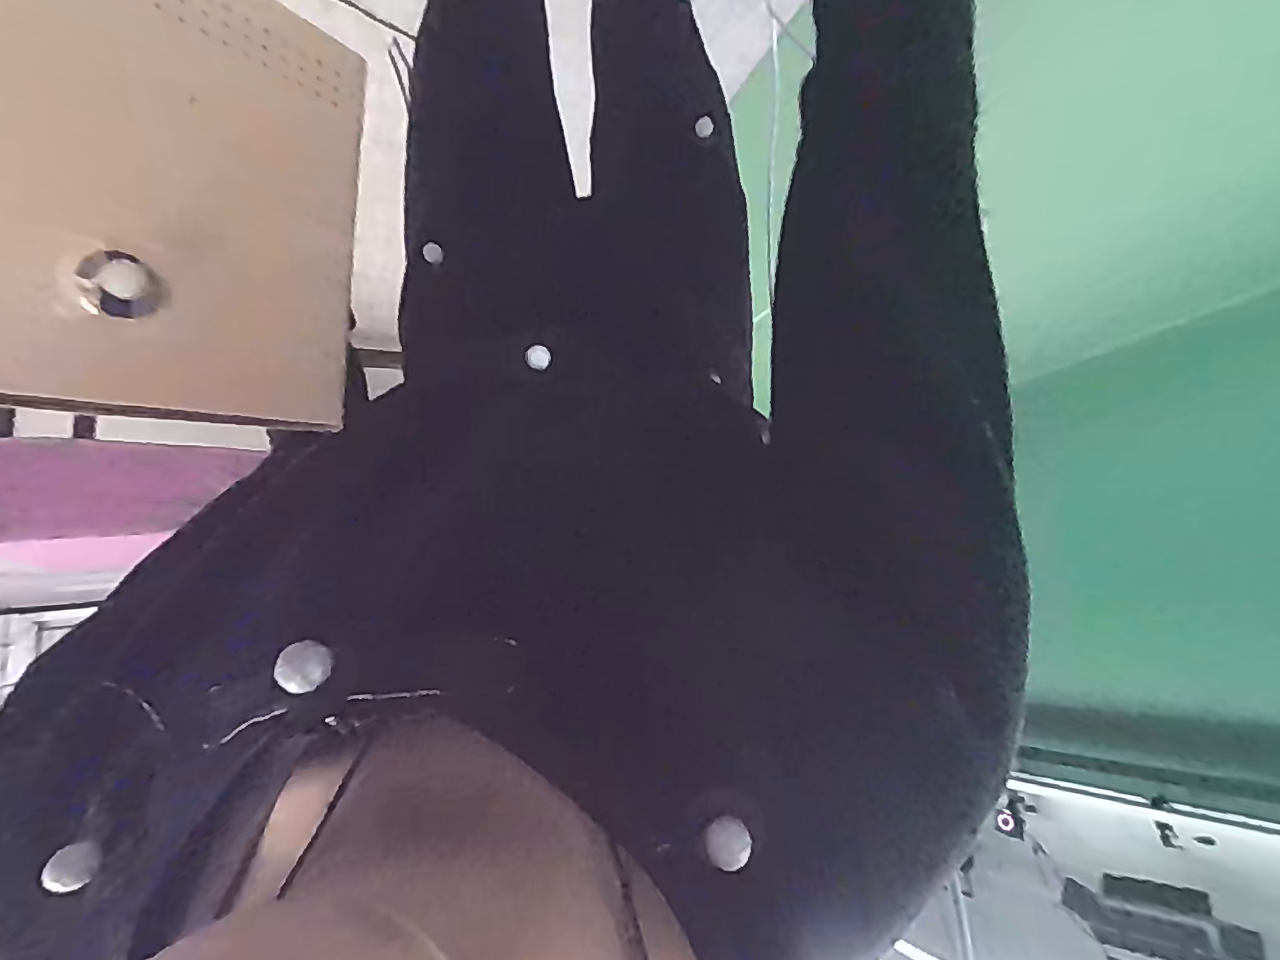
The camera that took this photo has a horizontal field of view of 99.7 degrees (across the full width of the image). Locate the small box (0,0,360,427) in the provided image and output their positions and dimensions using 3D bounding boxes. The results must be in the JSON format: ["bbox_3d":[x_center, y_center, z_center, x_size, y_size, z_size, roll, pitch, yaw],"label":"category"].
[{"bbox_3d":[-0.236,-0.117,0.212,0.168,0.176,0.179,6,-179,34],"label":"small box"}]
